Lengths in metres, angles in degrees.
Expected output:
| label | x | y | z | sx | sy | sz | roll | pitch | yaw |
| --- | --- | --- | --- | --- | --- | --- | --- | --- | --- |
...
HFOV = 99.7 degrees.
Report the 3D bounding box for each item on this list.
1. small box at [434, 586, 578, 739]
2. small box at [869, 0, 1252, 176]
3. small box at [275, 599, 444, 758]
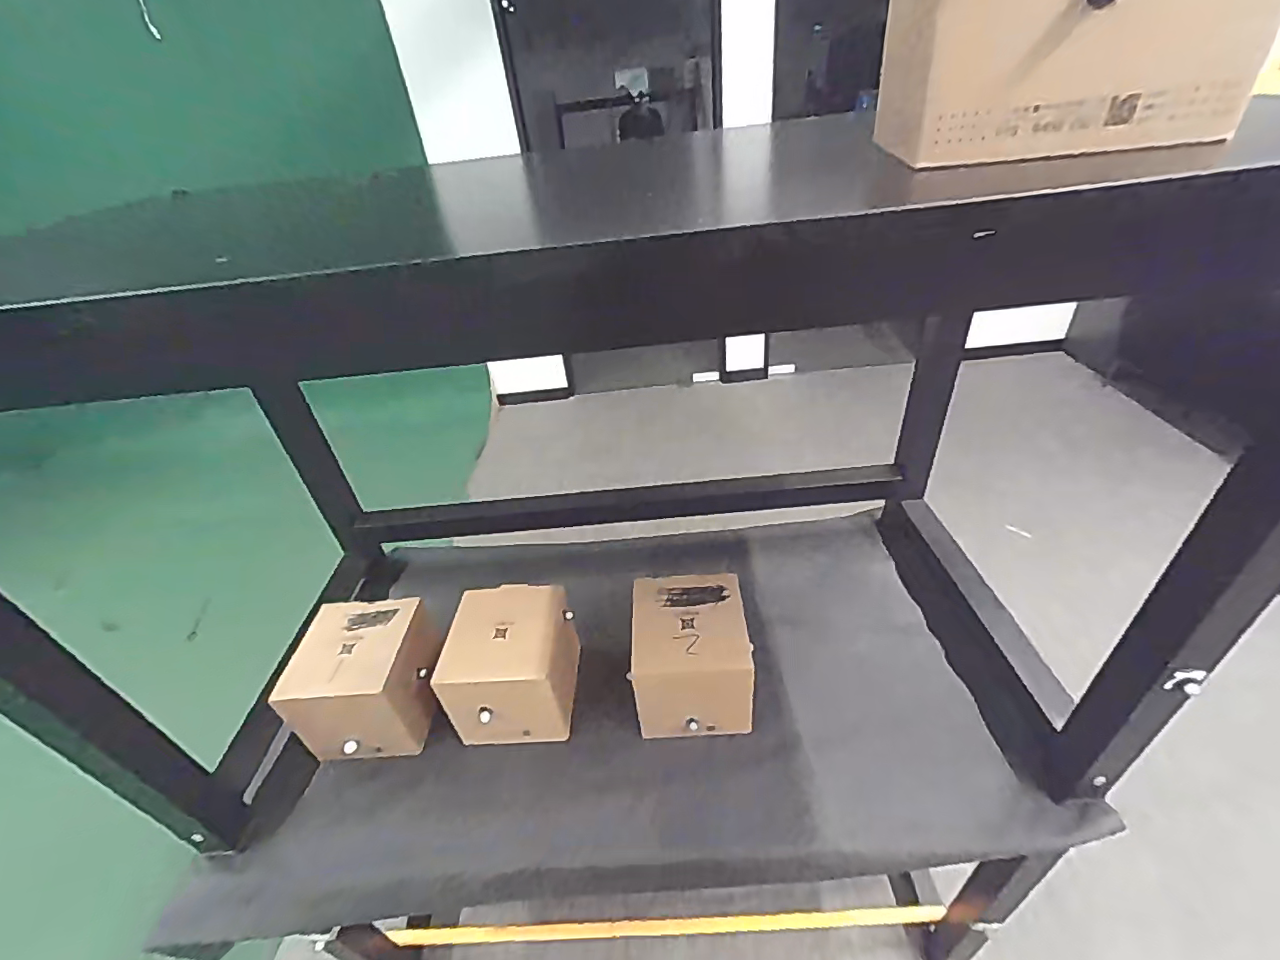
| label | x | y | z | sx | sy | sz | roll | pitch | yaw |
| --- | --- | --- | --- | --- | --- | --- | --- | --- | --- |
| small box | -0.198 | 0.293 | 0.861 | 0.168 | 0.176 | 0.179 | -4 | 35 | 4 |
| small box | 0.257 | -0.305 | 0.353 | 0.168 | 0.176 | 0.179 | 2 | 36 | 12 |
| small box | -0.424 | 0.315 | 0.864 | 0.168 | 0.176 | 0.179 | -5 | 36 | 3 |
